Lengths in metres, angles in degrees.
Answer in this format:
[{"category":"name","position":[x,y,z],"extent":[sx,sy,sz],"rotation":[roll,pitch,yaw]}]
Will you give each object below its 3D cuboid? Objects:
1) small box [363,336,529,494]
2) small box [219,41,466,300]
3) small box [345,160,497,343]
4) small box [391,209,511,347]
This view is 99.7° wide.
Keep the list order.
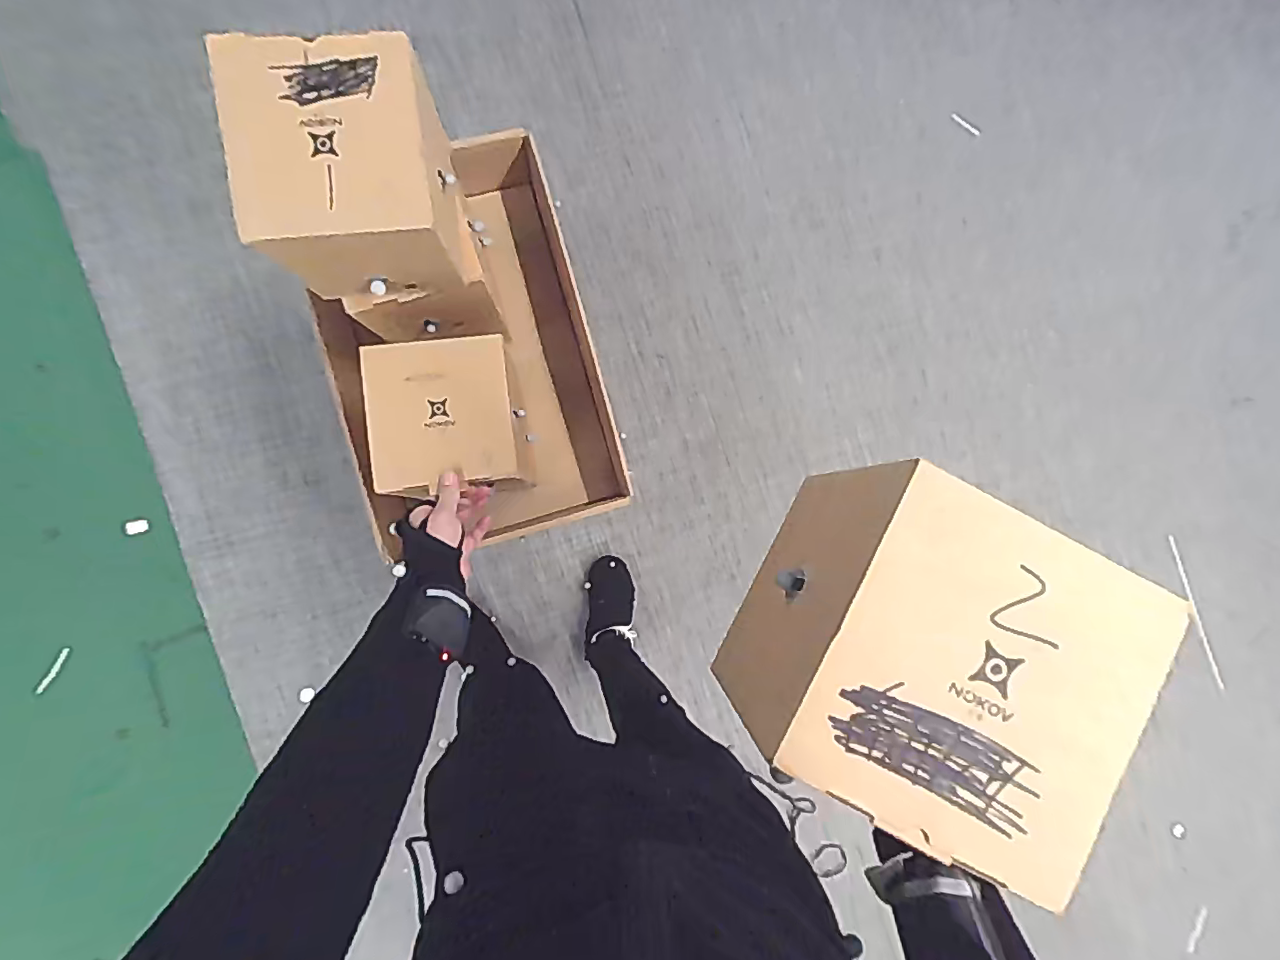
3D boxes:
[{"category":"small box","position":[-0.245,-0.076,0.720],"extent":[0.168,0.176,0.179],"rotation":[-7,86,-7]},{"category":"small box","position":[-0.287,-0.304,0.561],"extent":[0.168,0.176,0.179],"rotation":[-7,92,-7]},{"category":"small box","position":[-0.302,-0.302,0.725],"extent":[0.168,0.176,0.179],"rotation":[-17,94,-7]},{"category":"small box","position":[-0.321,-0.306,0.886],"extent":[0.168,0.176,0.179],"rotation":[-17,93,-6]}]
